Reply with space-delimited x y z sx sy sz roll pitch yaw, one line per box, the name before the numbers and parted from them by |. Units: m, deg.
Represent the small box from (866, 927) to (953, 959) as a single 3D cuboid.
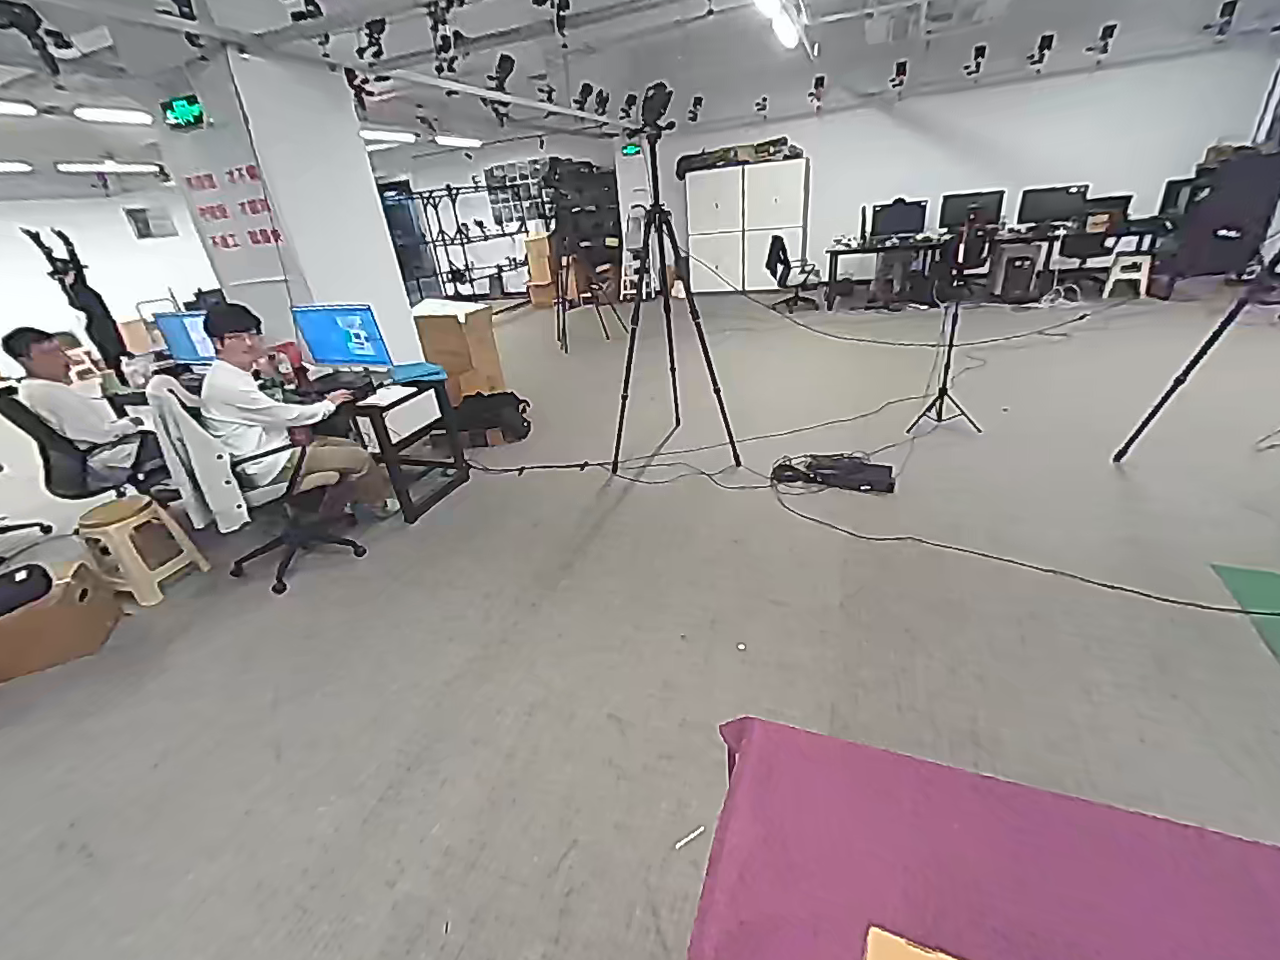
small box | 0.274 0.559 0.467 0.168 0.176 0.179 6 29 25
